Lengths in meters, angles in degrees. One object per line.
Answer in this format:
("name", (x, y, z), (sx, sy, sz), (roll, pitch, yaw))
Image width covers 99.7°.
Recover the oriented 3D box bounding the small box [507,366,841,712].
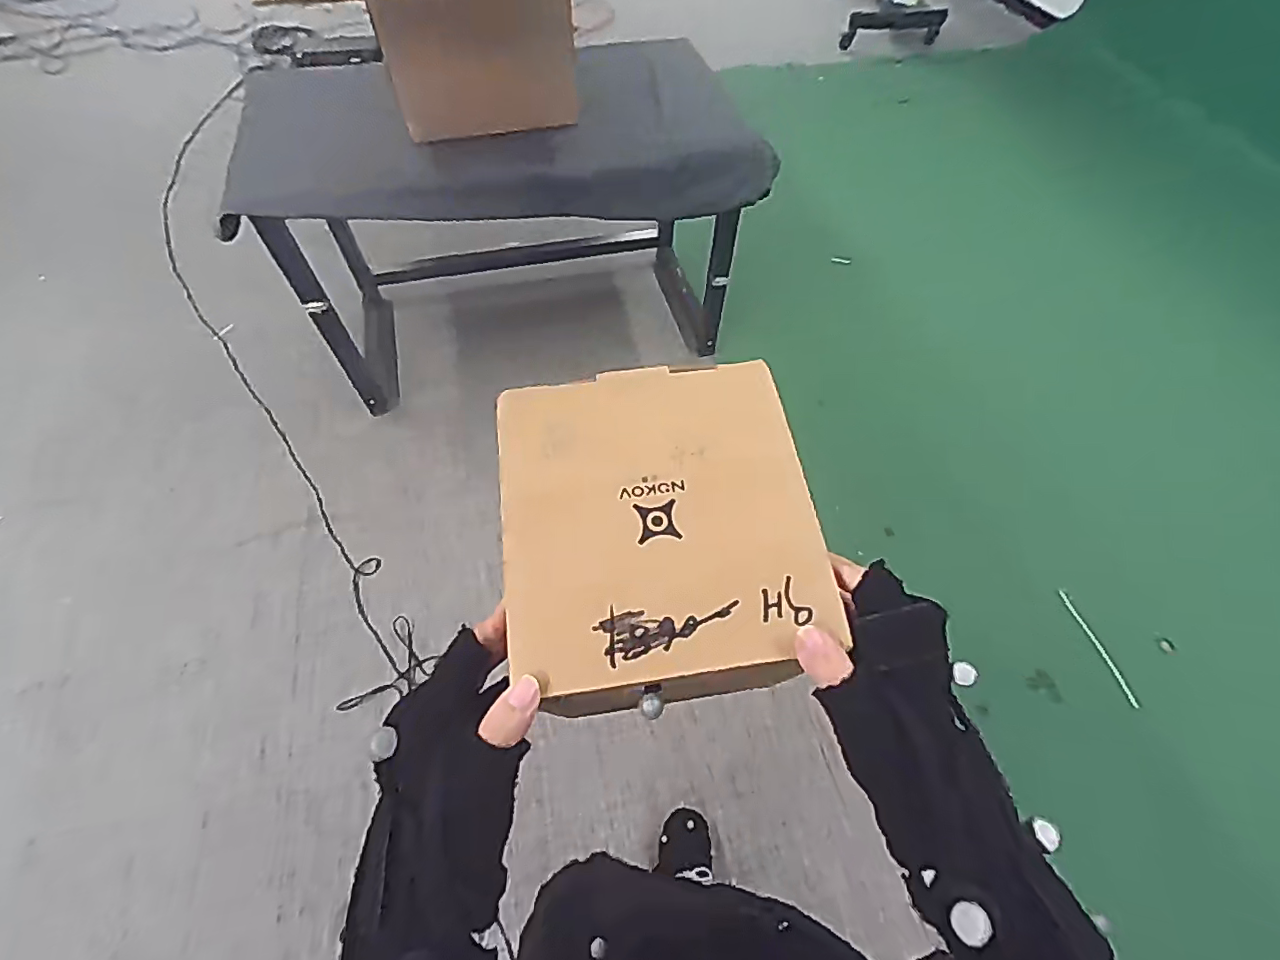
("small box", (0.009, 0.050, 0.372), (0.168, 0.176, 0.179), (-8, 63, -2))
